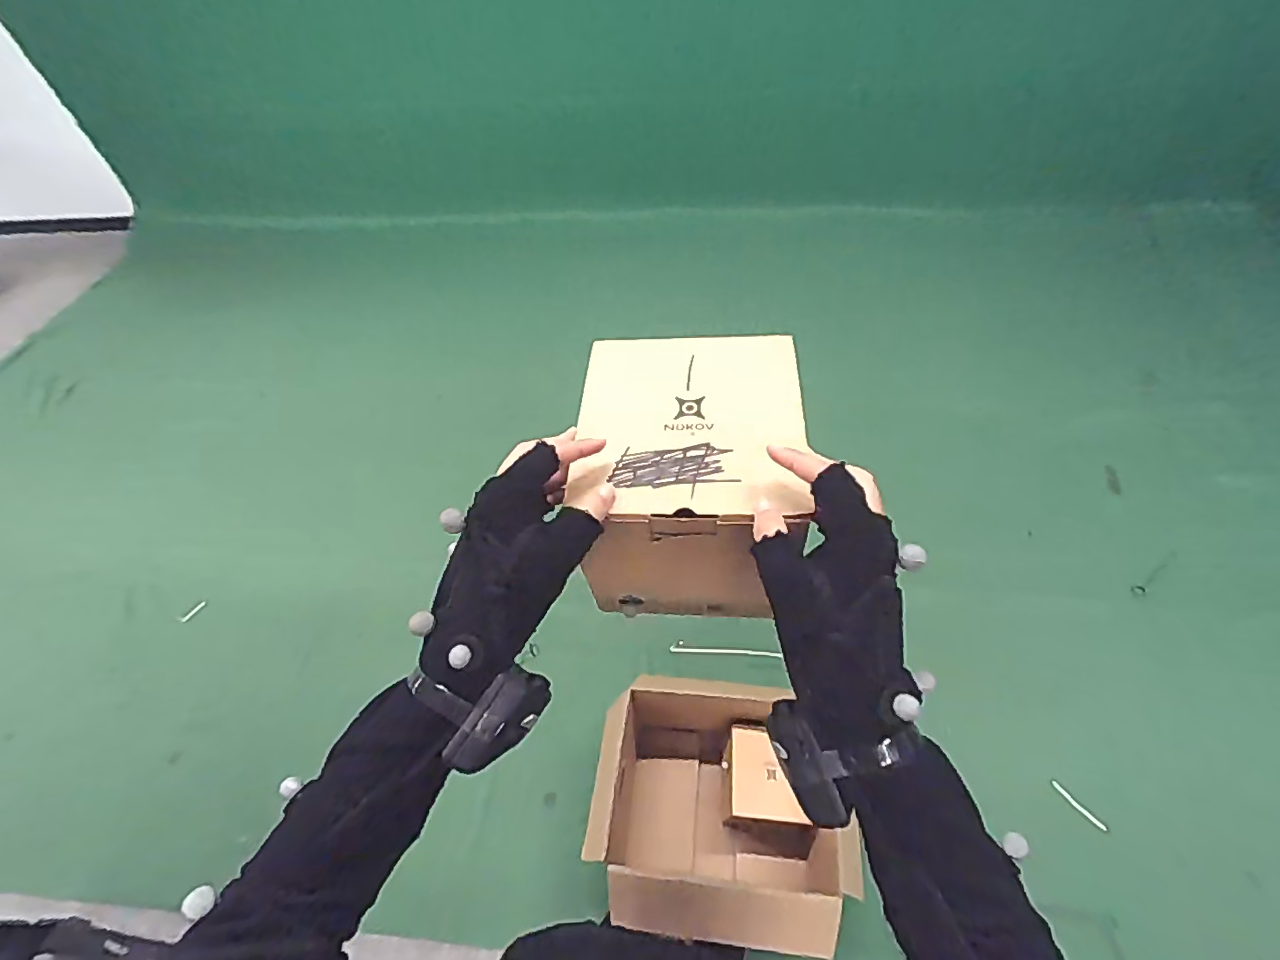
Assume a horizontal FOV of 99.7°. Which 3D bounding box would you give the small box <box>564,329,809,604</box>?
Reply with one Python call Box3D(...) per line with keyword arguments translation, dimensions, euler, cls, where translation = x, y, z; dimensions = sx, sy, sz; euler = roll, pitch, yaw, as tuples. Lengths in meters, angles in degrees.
Box3D(translation=(0.044, -0.005, 0.464), dimensions=(0.168, 0.176, 0.179), euler=(1, 55, 7), cls="small box")
